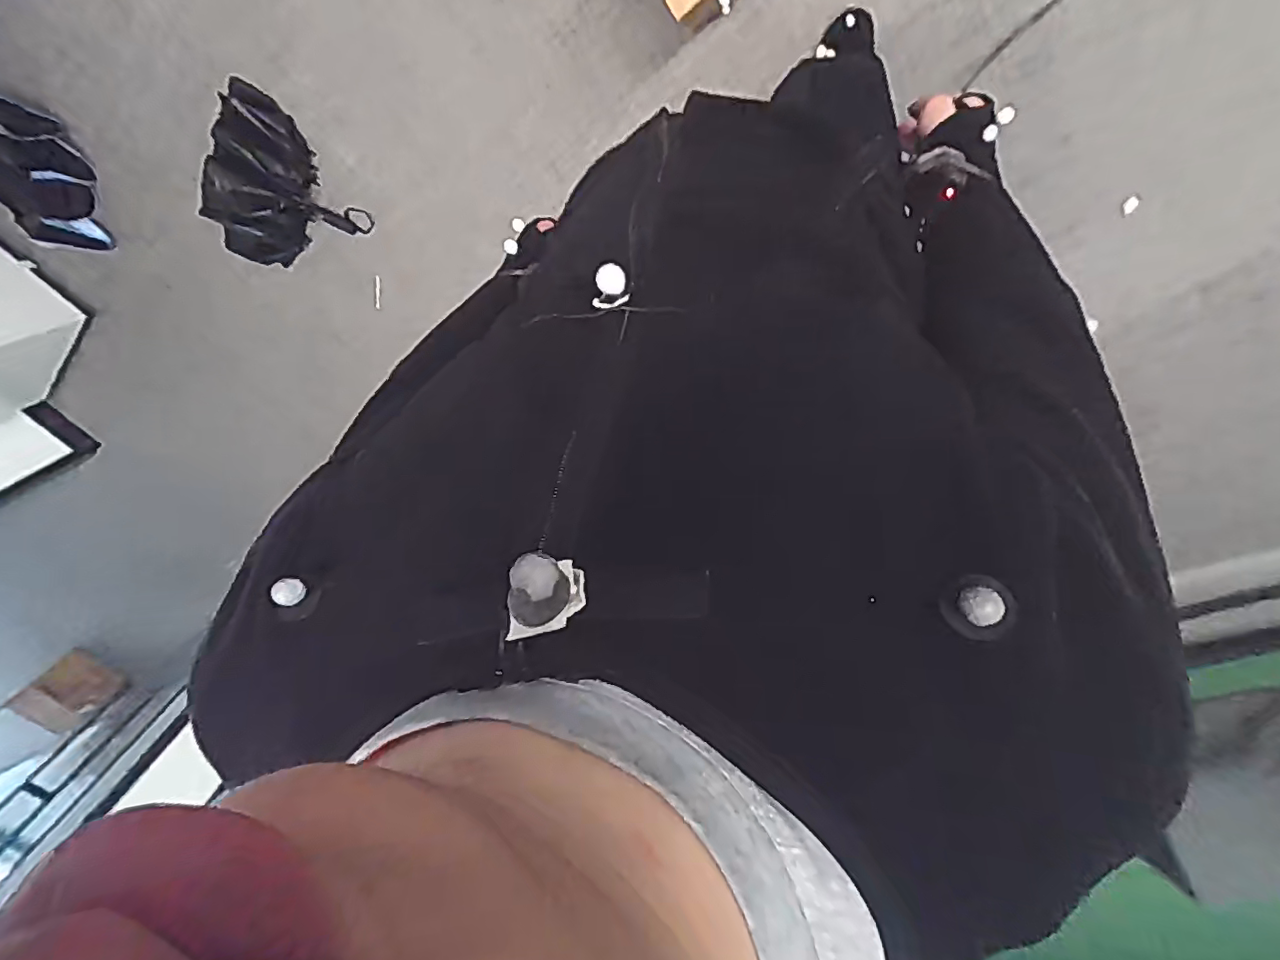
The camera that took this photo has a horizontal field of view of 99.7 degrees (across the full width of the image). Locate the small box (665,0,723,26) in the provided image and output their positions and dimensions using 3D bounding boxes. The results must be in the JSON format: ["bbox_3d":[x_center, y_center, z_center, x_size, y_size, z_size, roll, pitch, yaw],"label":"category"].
[{"bbox_3d":[0.088,-0.870,0.858,0.168,0.176,0.179,-27,117,28],"label":"small box"}]

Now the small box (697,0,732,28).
[{"bbox_3d":[0.116,-0.972,0.983,0.168,0.176,0.179,-26,118,28],"label":"small box"}]
